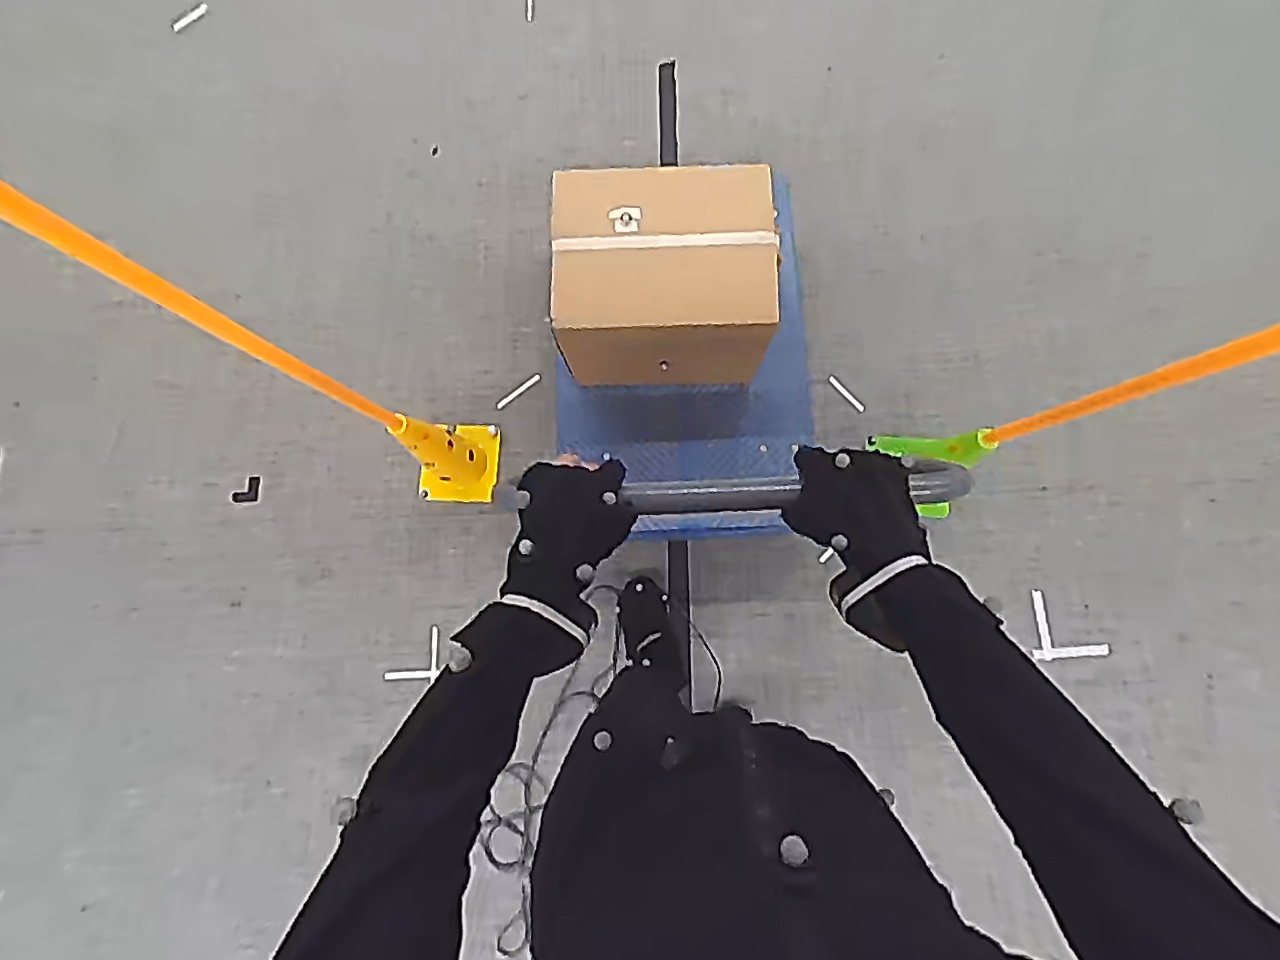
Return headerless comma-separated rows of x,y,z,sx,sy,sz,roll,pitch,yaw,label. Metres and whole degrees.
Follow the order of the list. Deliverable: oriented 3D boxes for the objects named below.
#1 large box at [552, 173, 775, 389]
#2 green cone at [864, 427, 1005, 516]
0.046,-0.387,1.130,0.408,0.320,0.320,-1,80,3,large box
0.660,-0.042,1.182,0.202,0.368,0.200,2,79,2,green cone
